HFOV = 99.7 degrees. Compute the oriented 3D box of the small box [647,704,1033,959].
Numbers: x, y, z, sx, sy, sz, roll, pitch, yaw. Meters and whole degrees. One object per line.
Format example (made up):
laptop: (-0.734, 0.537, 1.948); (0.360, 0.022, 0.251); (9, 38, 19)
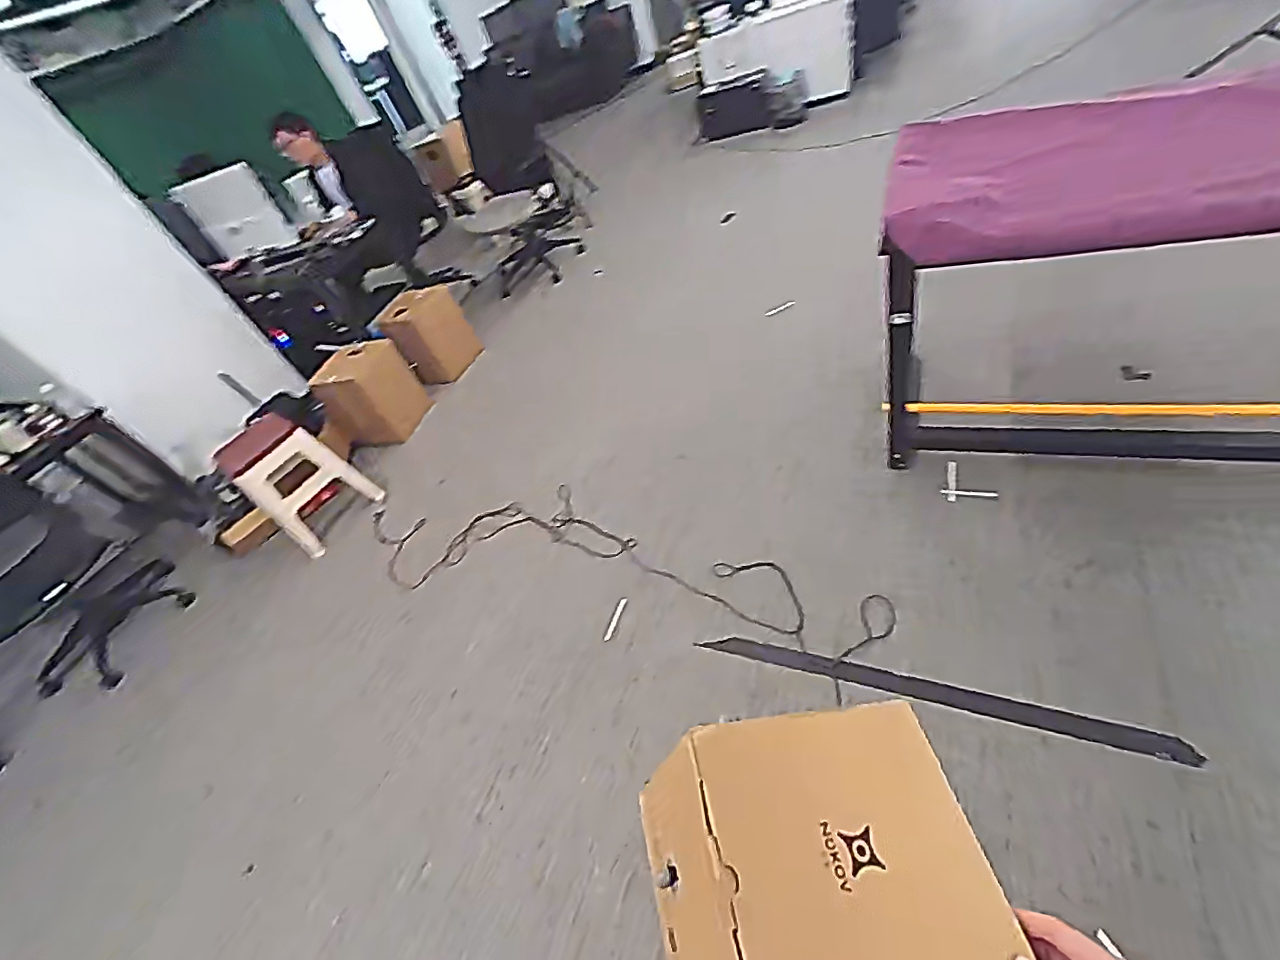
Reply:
small box: (0.117, 0.280, 0.390); (0.179, 0.176, 0.168); (-1, 49, -15)
